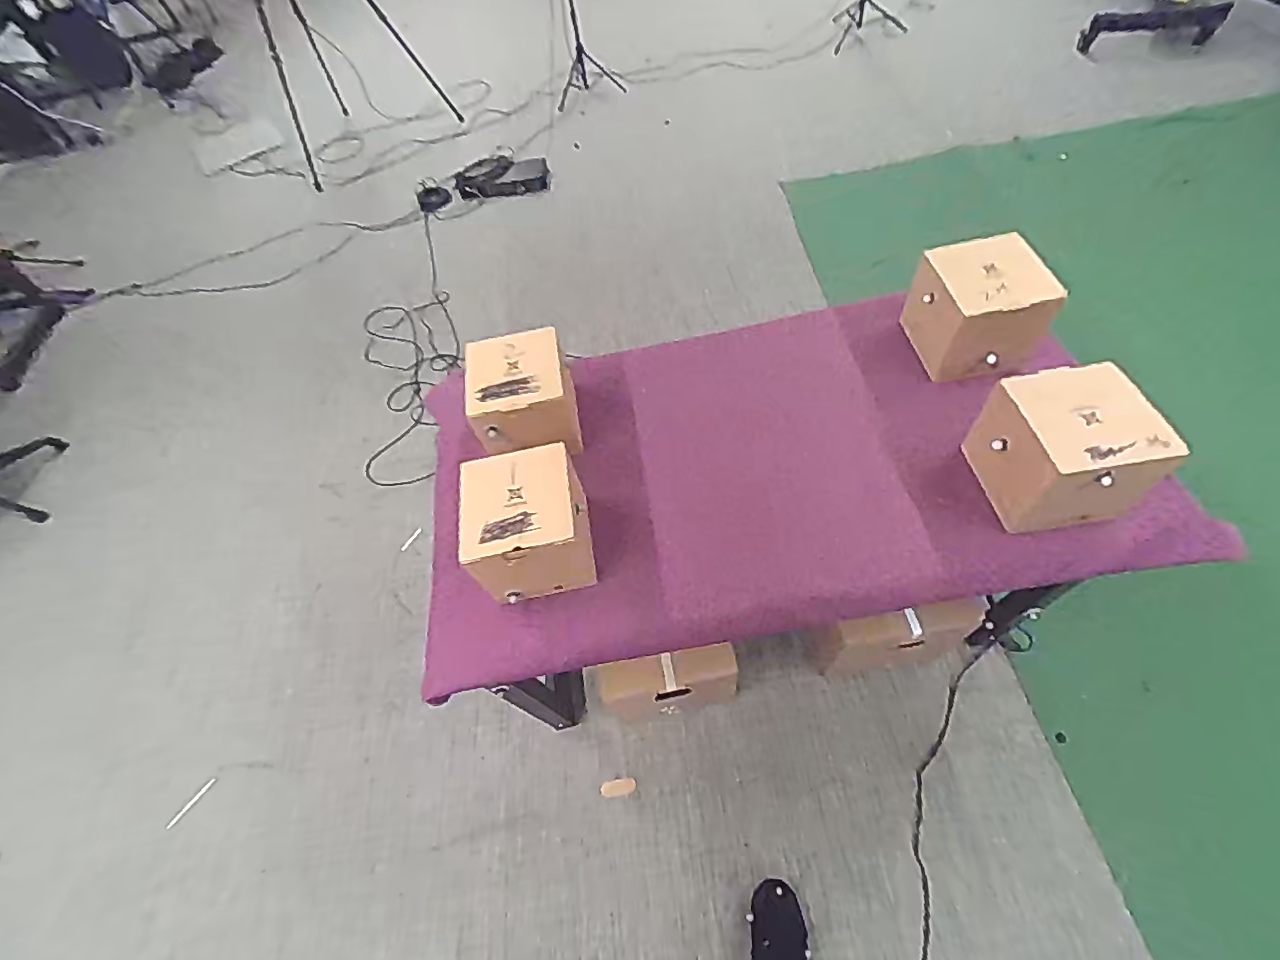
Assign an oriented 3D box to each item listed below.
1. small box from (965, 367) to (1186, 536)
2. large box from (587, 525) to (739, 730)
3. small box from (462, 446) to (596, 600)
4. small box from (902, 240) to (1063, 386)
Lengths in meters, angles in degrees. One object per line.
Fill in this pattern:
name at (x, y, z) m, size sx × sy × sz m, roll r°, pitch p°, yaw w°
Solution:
small box at (0.628, -0.039, 0.815) m, size 0.168 × 0.176 × 0.179 m, roll -10°, pitch 53°, yaw 4°
large box at (0.054, 0.390, 1.420) m, size 0.320 × 0.320 × 0.408 m, roll -12°, pitch 55°, yaw 0°
small box at (-0.170, 0.077, 0.860) m, size 0.168 × 0.176 × 0.179 m, roll -12°, pitch 55°, yaw 0°
small box at (0.606, -0.301, 0.989) m, size 0.168 × 0.176 × 0.179 m, roll -10°, pitch 57°, yaw 4°
